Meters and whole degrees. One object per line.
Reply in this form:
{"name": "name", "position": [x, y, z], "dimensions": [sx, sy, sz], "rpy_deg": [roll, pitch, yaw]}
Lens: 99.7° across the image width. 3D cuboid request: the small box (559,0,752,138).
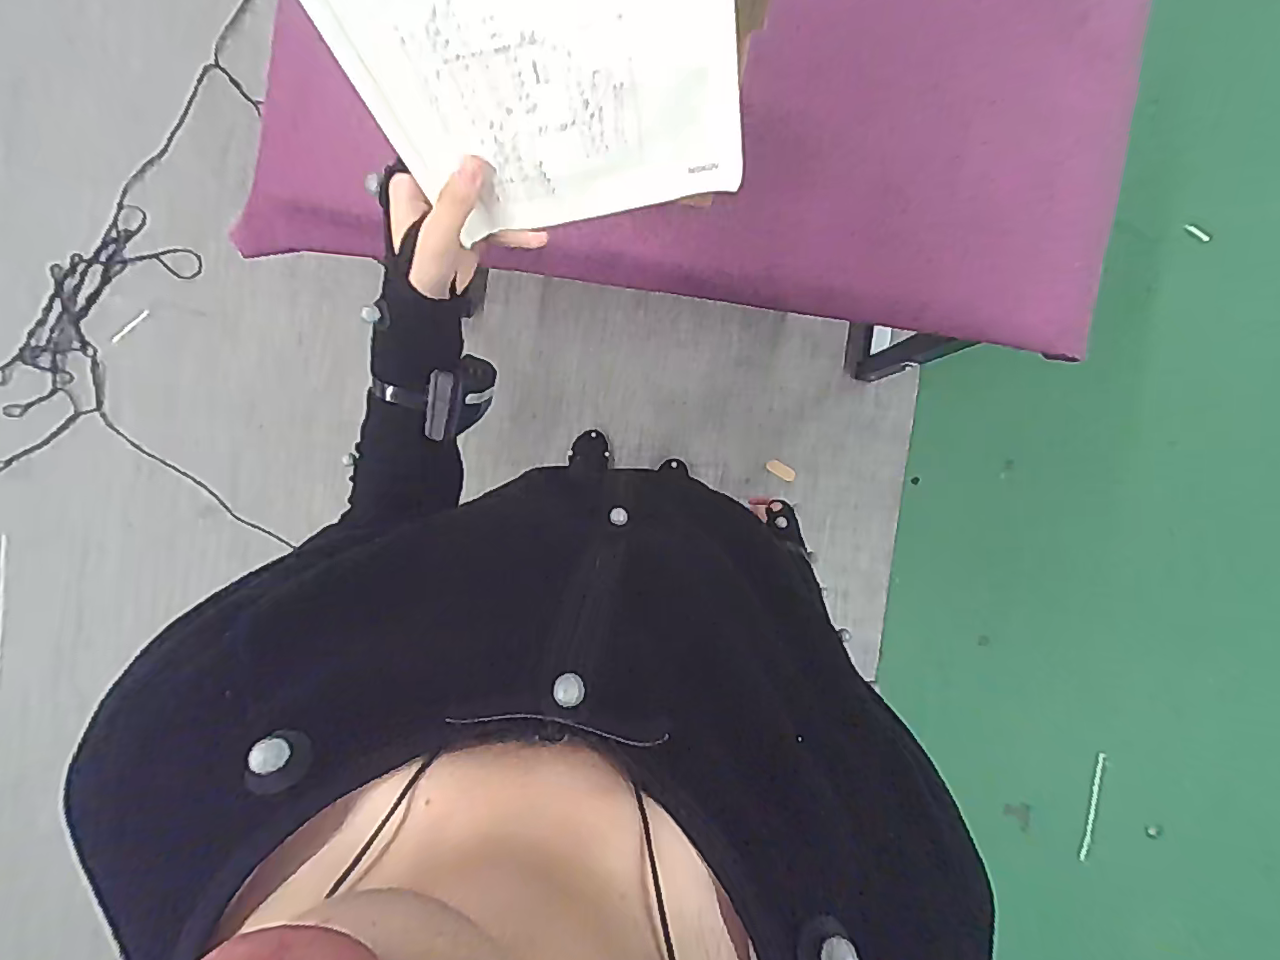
{"name": "small box", "position": [0.027, -0.472, 0.525], "dimensions": [0.168, 0.176, 0.179], "rpy_deg": [9, 91, 1]}
